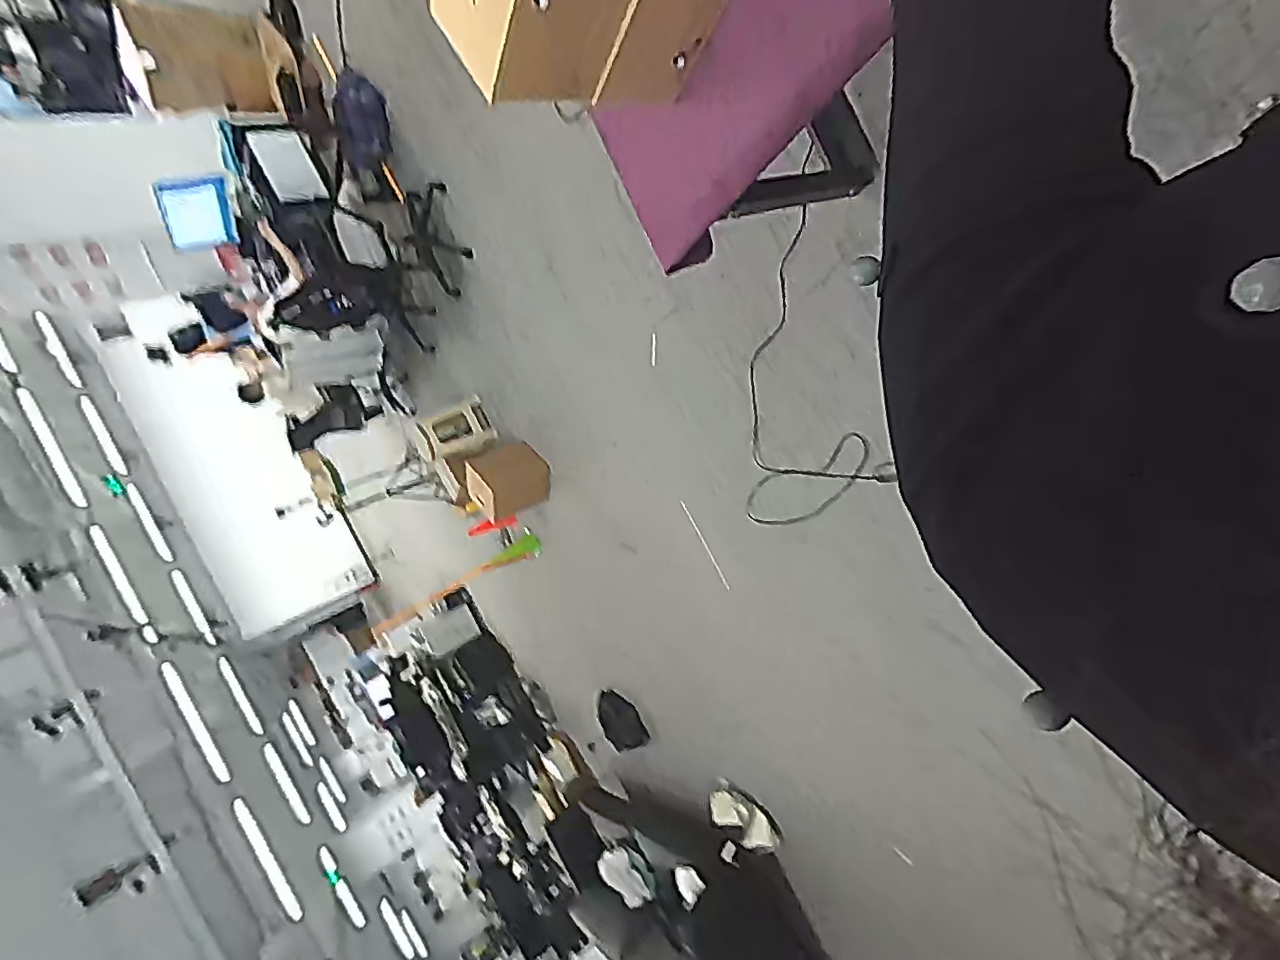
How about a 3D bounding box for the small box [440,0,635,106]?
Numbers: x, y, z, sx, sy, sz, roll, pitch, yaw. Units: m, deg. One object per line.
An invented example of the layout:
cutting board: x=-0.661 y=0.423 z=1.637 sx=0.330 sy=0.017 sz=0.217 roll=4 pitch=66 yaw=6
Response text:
small box: x=-0.131 y=-0.620 z=0.693 sx=0.168 sy=0.176 sz=0.179 roll=58 pitch=146 yaw=6
